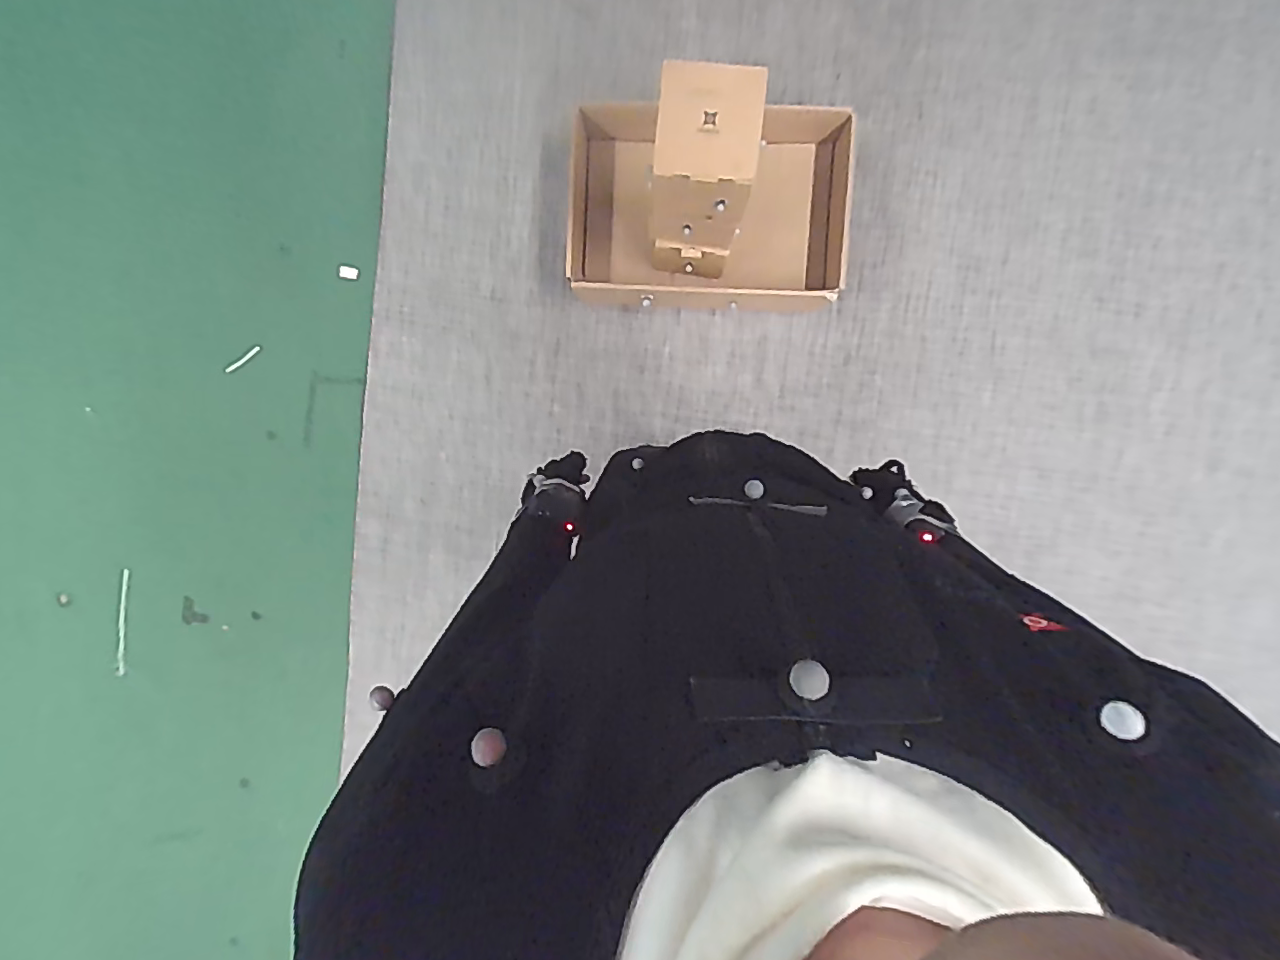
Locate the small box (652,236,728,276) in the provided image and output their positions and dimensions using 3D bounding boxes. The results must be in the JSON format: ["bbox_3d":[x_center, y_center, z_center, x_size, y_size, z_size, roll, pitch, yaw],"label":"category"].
[{"bbox_3d":[0.124,-0.587,1.248,0.168,0.176,0.179,9,96,1],"label":"small box"}]

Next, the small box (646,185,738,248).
[{"bbox_3d":[0.116,-0.584,1.084,0.179,0.176,0.168,12,94,2],"label":"small box"}]

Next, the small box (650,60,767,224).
[{"bbox_3d":[0.108,-0.562,0.923,0.168,0.176,0.179,6,93,0],"label":"small box"}]
